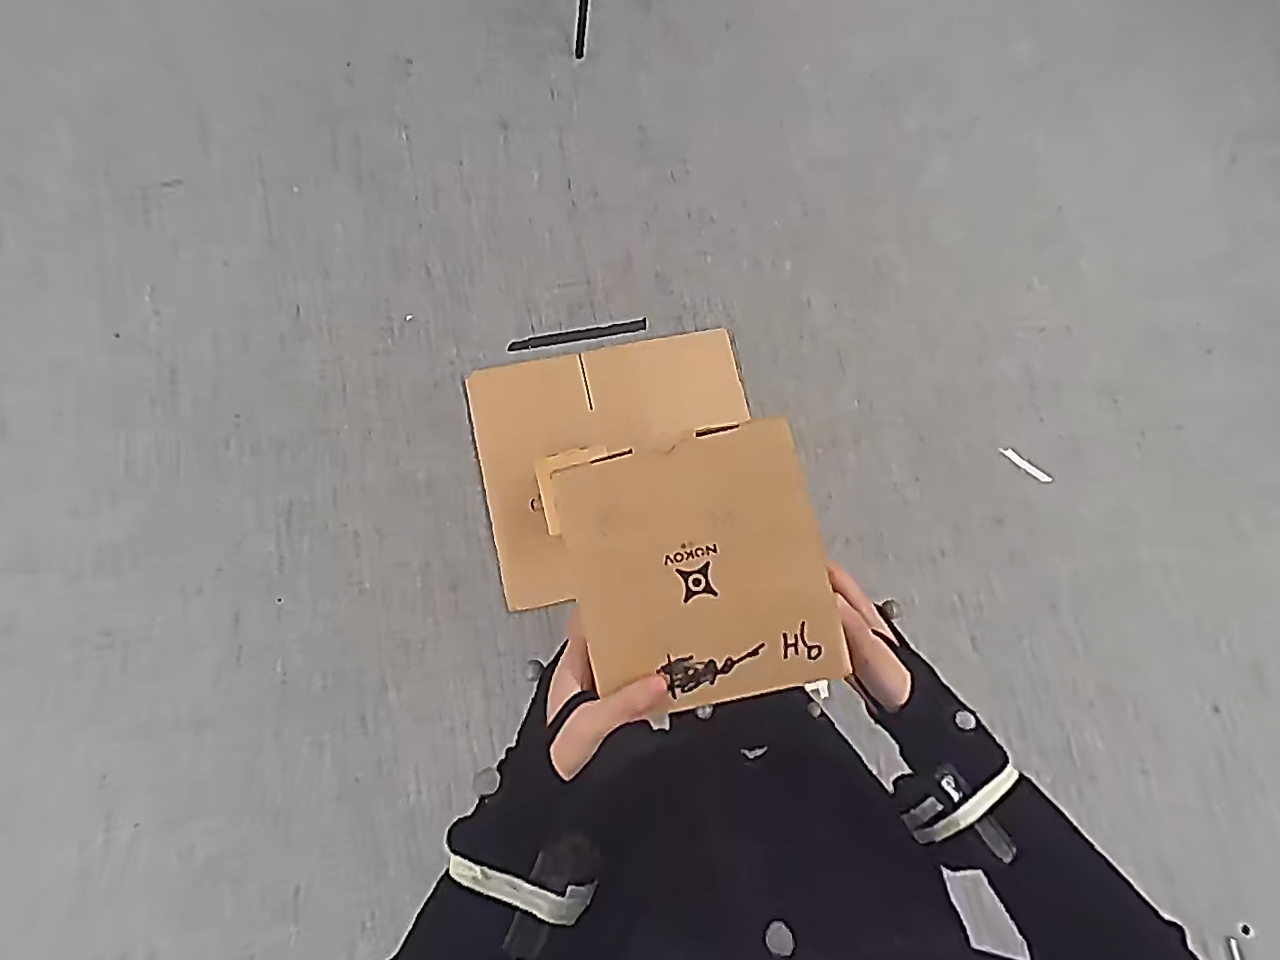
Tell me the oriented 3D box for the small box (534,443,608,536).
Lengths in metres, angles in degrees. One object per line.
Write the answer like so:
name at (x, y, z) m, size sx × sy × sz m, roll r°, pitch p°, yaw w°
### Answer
small box at (-0.141, 0.027, 1.262) m, size 0.168 × 0.176 × 0.179 m, roll -14°, pitch 84°, yaw -7°

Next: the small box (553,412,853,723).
small box at (0.044, 0.064, 0.433) m, size 0.168 × 0.176 × 0.179 m, roll -15°, pitch 84°, yaw 5°
